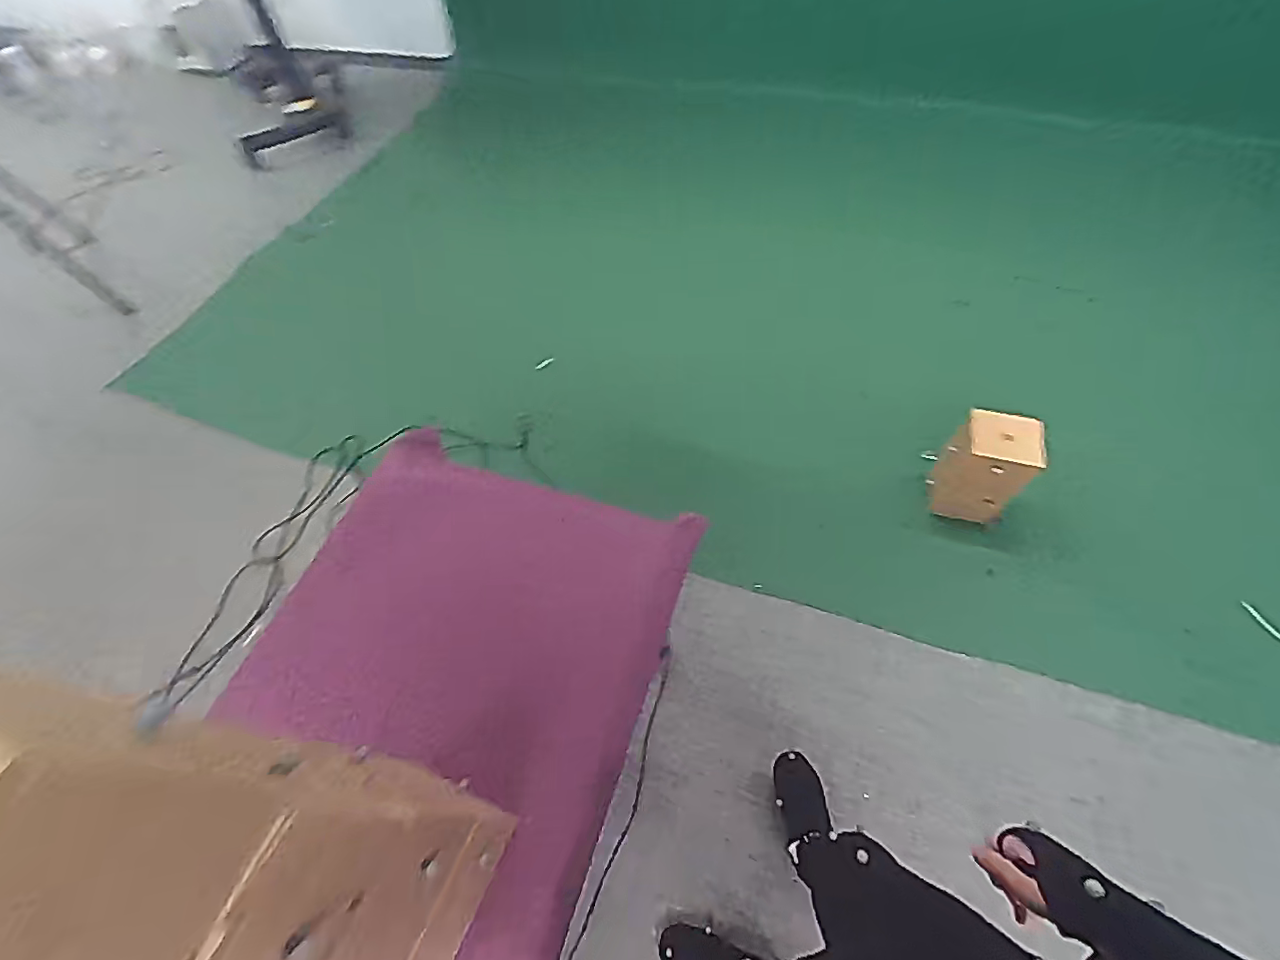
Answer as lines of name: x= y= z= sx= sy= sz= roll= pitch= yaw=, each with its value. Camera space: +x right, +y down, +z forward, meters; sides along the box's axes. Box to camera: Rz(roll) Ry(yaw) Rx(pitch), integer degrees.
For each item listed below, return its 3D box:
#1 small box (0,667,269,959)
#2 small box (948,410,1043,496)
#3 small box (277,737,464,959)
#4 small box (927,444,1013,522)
small box: x=-0.330 y=0.195 z=0.247 sx=0.168 sy=0.176 sz=0.179 roll=15 pitch=59 yaw=16
small box: x=1.011 y=-0.073 z=1.549 sx=0.179 sy=0.176 sz=0.168 roll=12 pitch=60 yaw=13
small box: x=-0.294 y=0.377 z=0.517 sx=0.168 sy=0.176 sz=0.179 roll=17 pitch=61 yaw=16
small box: x=1.023 y=0.014 z=1.686 sx=0.179 sy=0.176 sz=0.168 roll=11 pitch=59 yaw=12
